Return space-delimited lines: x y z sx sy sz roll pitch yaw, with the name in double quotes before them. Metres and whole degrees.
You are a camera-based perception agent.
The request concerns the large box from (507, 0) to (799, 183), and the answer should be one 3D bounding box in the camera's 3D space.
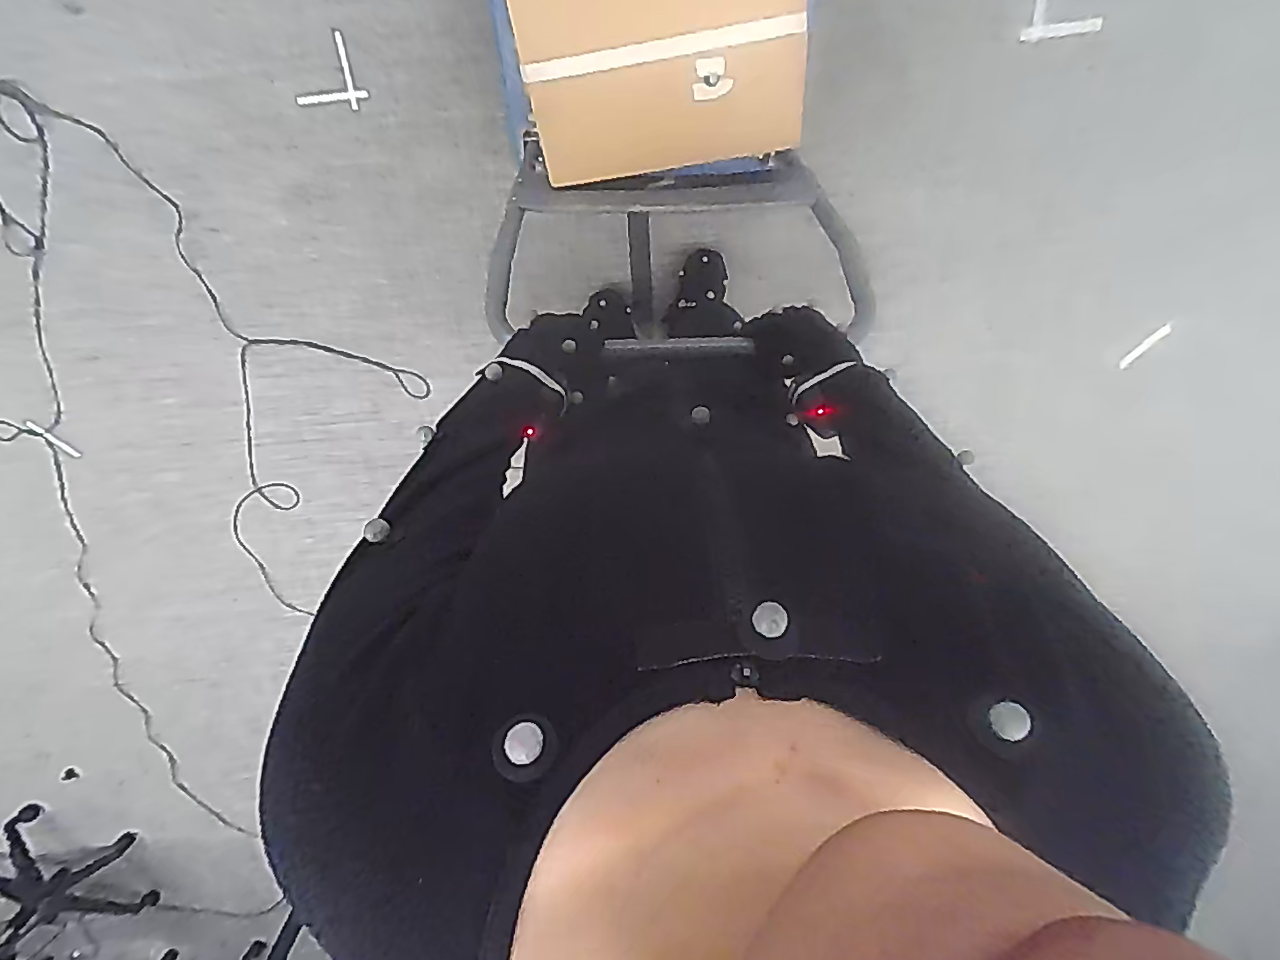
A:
"large box" 0.019 -0.729 0.882 0.408 0.320 0.320 -8 135 4
